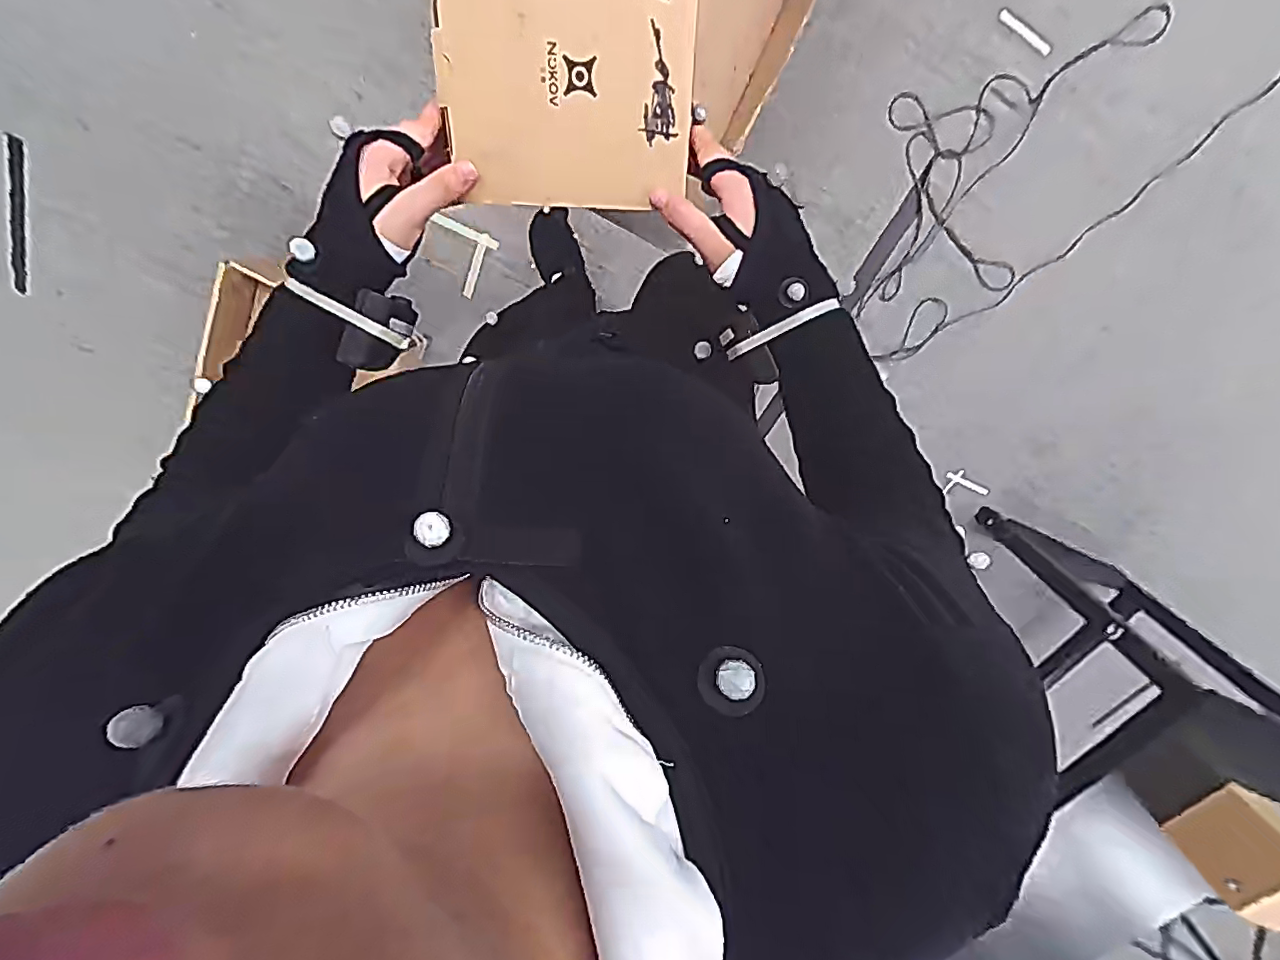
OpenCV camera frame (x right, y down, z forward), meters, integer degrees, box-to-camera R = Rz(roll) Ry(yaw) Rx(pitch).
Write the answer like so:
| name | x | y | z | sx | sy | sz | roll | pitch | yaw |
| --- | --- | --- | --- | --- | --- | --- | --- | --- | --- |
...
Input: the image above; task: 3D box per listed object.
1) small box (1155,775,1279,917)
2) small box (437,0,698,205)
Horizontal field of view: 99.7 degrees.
| name | x | y | z | sx | sy | sz | roll | pitch | yaw |
| --- | --- | --- | --- | --- | --- | --- | --- | --- | --- |
| small box | 1.240 | 0.743 | 1.107 | 0.168 | 0.176 | 0.179 | 25 | 114 | -13 |
| small box | -0.049 | -0.325 | 0.447 | 0.179 | 0.176 | 0.168 | 3 | 117 | -1 |
